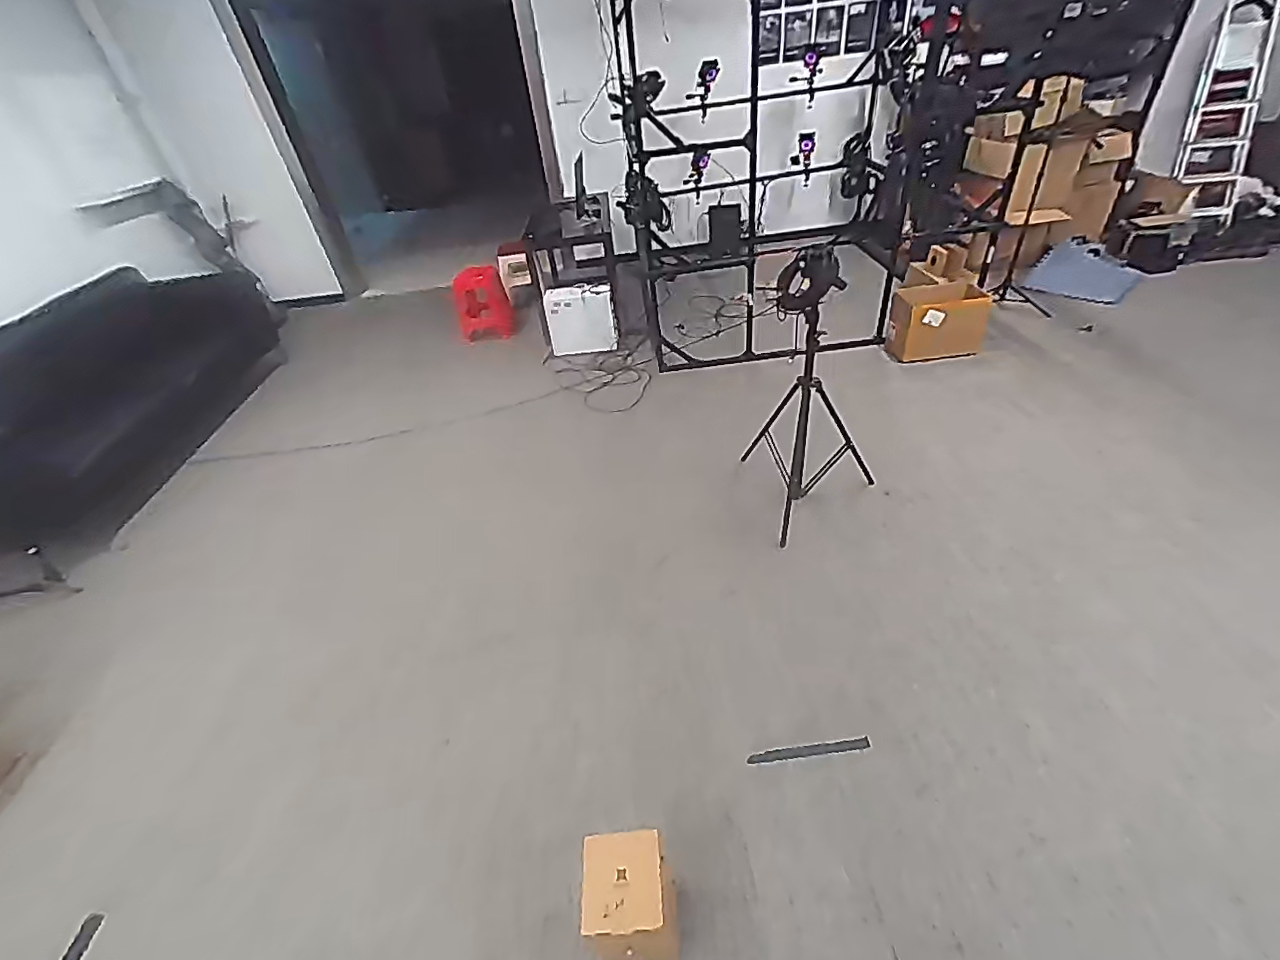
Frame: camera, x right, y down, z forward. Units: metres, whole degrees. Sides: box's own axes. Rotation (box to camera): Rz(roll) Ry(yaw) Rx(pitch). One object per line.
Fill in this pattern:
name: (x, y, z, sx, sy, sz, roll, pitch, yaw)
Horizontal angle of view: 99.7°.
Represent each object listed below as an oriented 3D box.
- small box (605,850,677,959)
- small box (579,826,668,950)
small box: (-0.004, 1.003, 1.270, 0.168, 0.176, 0.179, -7, 38, 4)
small box: (-0.031, 0.879, 1.165, 0.168, 0.176, 0.179, -7, 39, 3)
